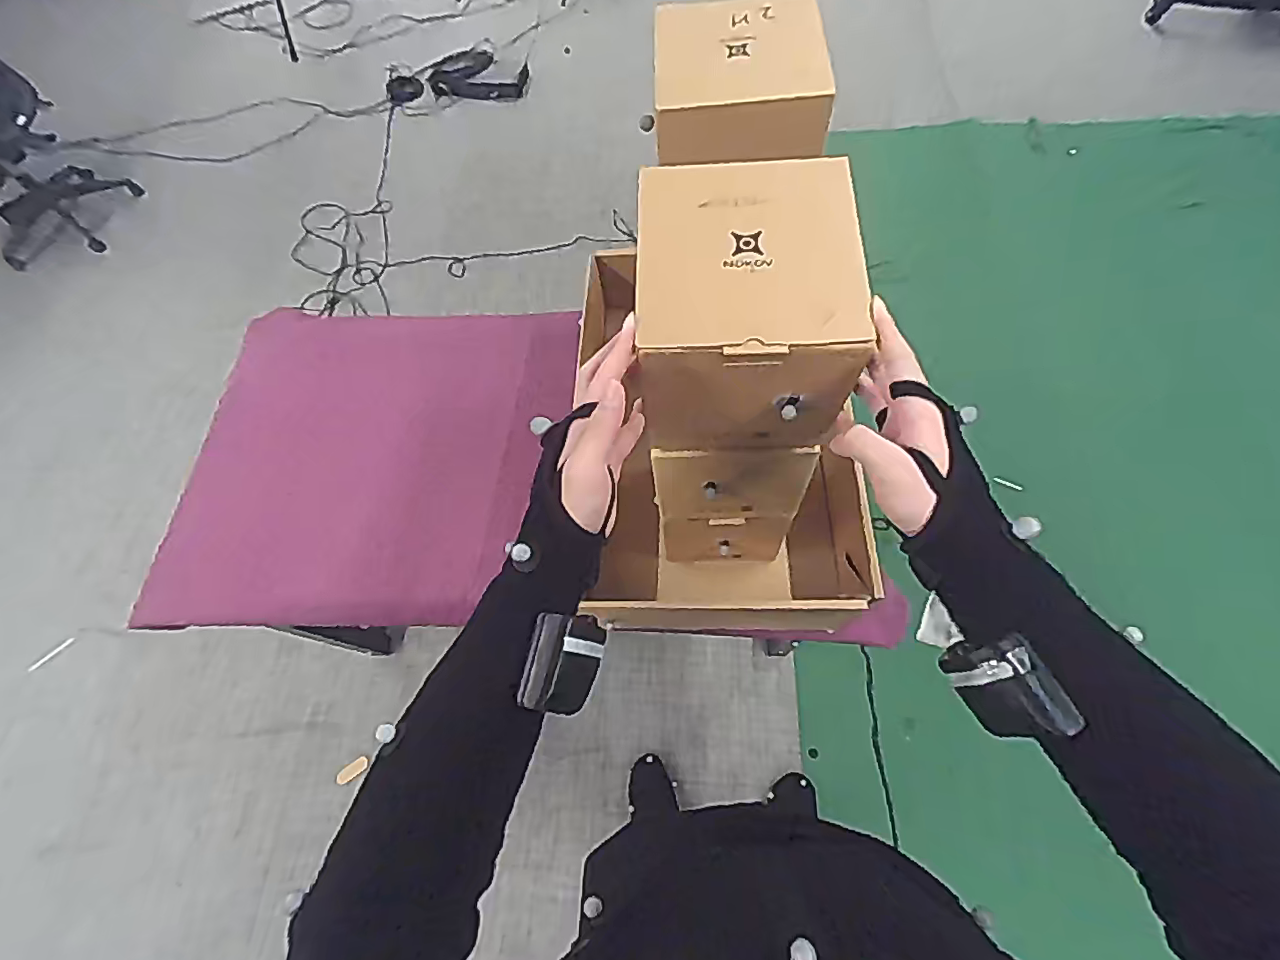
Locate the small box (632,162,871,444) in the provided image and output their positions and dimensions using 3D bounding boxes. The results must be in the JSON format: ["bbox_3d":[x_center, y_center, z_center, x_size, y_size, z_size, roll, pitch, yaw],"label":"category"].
[{"bbox_3d":[0.084,-0.138,0.473,0.168,0.176,0.179,-1,69,4],"label":"small box"}]

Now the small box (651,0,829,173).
[{"bbox_3d":[0.101,-0.384,0.601,0.168,0.176,0.179,-1,66,5],"label":"small box"}]

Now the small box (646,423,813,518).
[{"bbox_3d":[0.099,-0.061,0.635,0.168,0.176,0.179,-2,63,6],"label":"small box"}]
